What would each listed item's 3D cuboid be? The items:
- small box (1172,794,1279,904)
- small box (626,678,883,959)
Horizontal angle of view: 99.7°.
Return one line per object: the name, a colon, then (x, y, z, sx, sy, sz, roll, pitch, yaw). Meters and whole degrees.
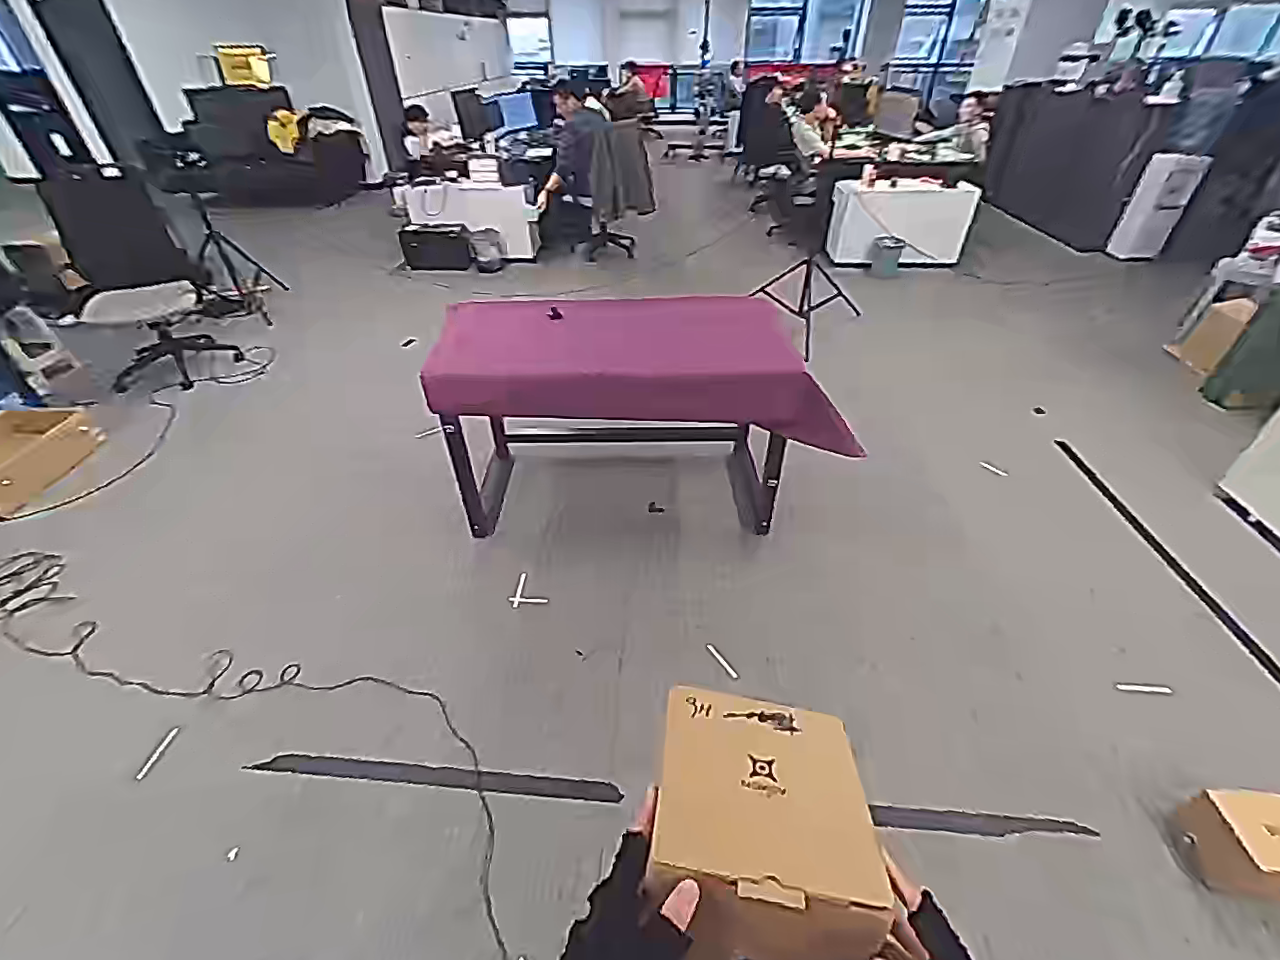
small box: (1.407, 0.850, 1.243, 0.179, 0.176, 0.168, 1, 38, 4)
small box: (0.085, 0.310, 0.469, 0.168, 0.176, 0.179, 10, 22, 4)
